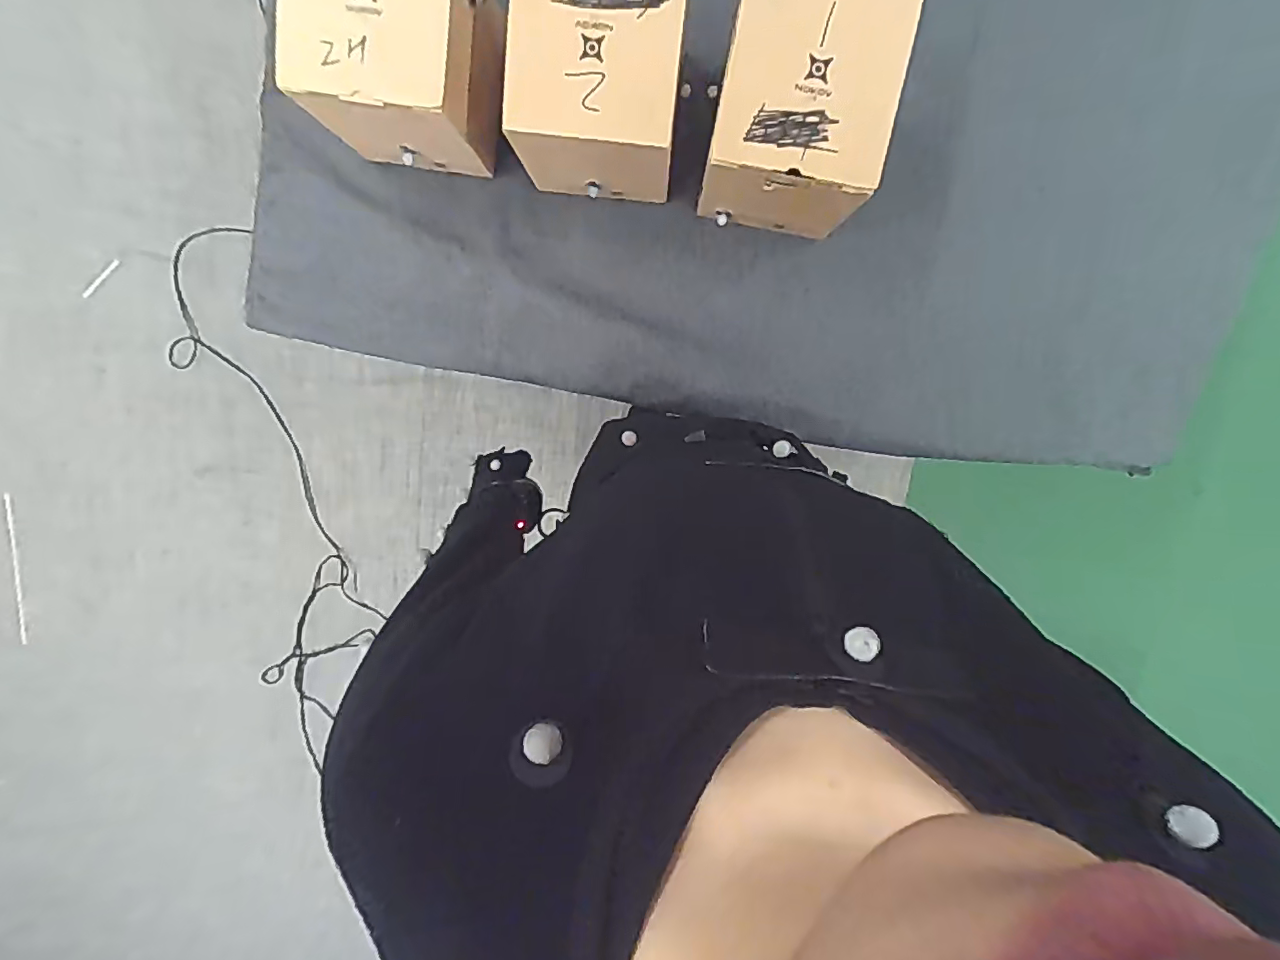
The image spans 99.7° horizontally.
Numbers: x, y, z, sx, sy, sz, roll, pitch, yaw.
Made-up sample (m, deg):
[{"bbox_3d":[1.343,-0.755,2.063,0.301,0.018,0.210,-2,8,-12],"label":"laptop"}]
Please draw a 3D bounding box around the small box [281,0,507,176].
[{"bbox_3d":[-0.250,-0.465,0.587,0.168,0.176,0.179,9,100,0],"label":"small box"}]
